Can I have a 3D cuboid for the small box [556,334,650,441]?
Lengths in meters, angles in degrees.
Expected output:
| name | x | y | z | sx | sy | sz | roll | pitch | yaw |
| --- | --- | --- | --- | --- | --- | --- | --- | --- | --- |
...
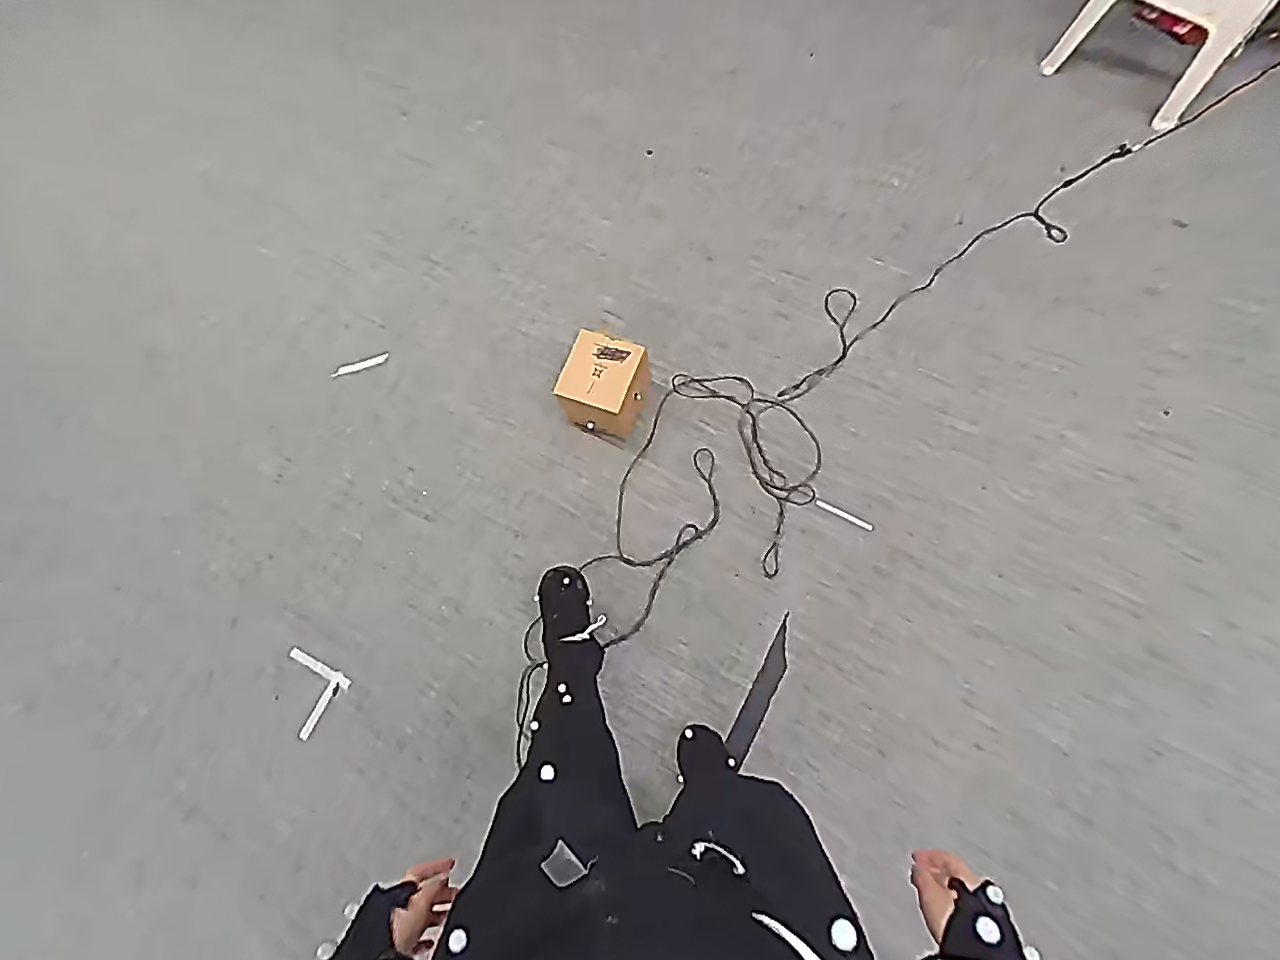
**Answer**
| name | x | y | z | sx | sy | sz | roll | pitch | yaw |
| --- | --- | --- | --- | --- | --- | --- | --- | --- | --- |
| small box | -0.082 | -0.221 | 1.315 | 0.168 | 0.176 | 0.179 | 19 | 77 | 12 |
